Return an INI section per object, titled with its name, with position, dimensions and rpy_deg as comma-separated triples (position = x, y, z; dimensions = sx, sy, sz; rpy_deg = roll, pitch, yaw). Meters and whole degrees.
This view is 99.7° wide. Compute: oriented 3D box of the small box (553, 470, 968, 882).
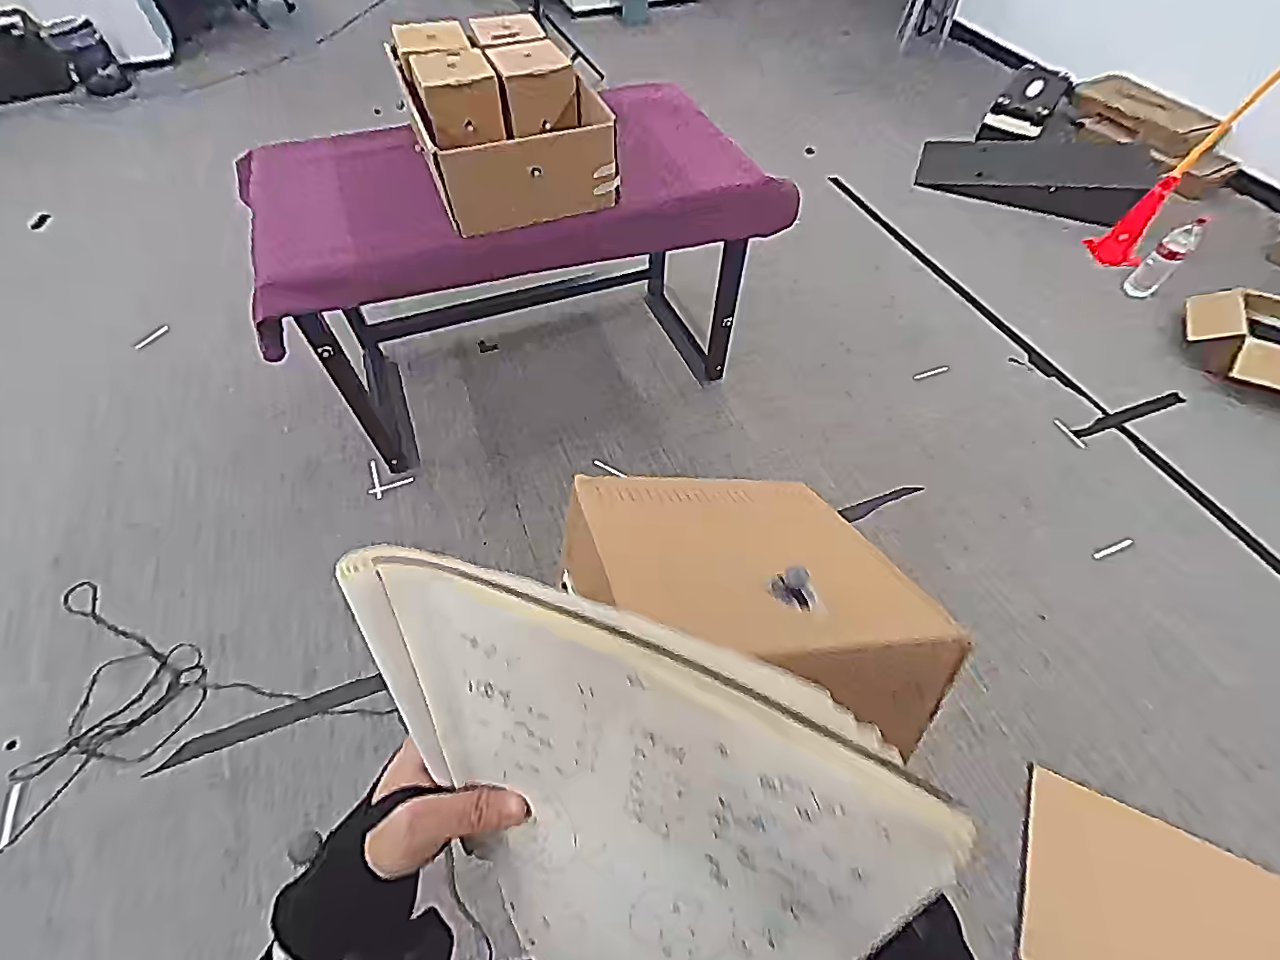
[small box]
position = 0.048, 0.101, 0.341
dimensions = 0.179, 0.168, 0.176
rpy_deg = 1, 25, -17
